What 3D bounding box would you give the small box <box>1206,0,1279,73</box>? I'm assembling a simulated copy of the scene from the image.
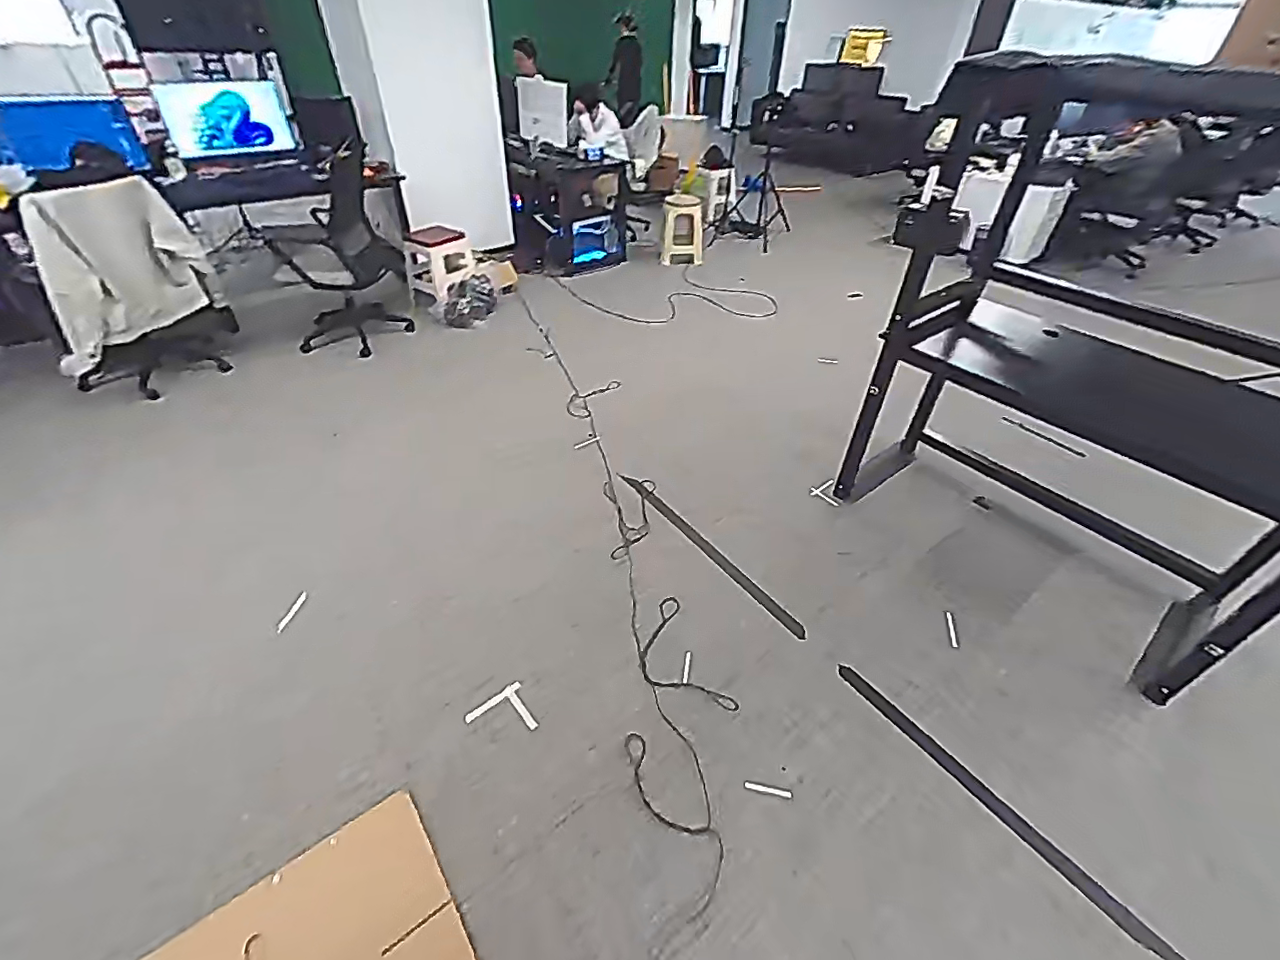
[{"bbox_3d":[1.271,-0.900,1.052,0.179,0.176,0.168,-23,45,-29],"label":"small box"}]
